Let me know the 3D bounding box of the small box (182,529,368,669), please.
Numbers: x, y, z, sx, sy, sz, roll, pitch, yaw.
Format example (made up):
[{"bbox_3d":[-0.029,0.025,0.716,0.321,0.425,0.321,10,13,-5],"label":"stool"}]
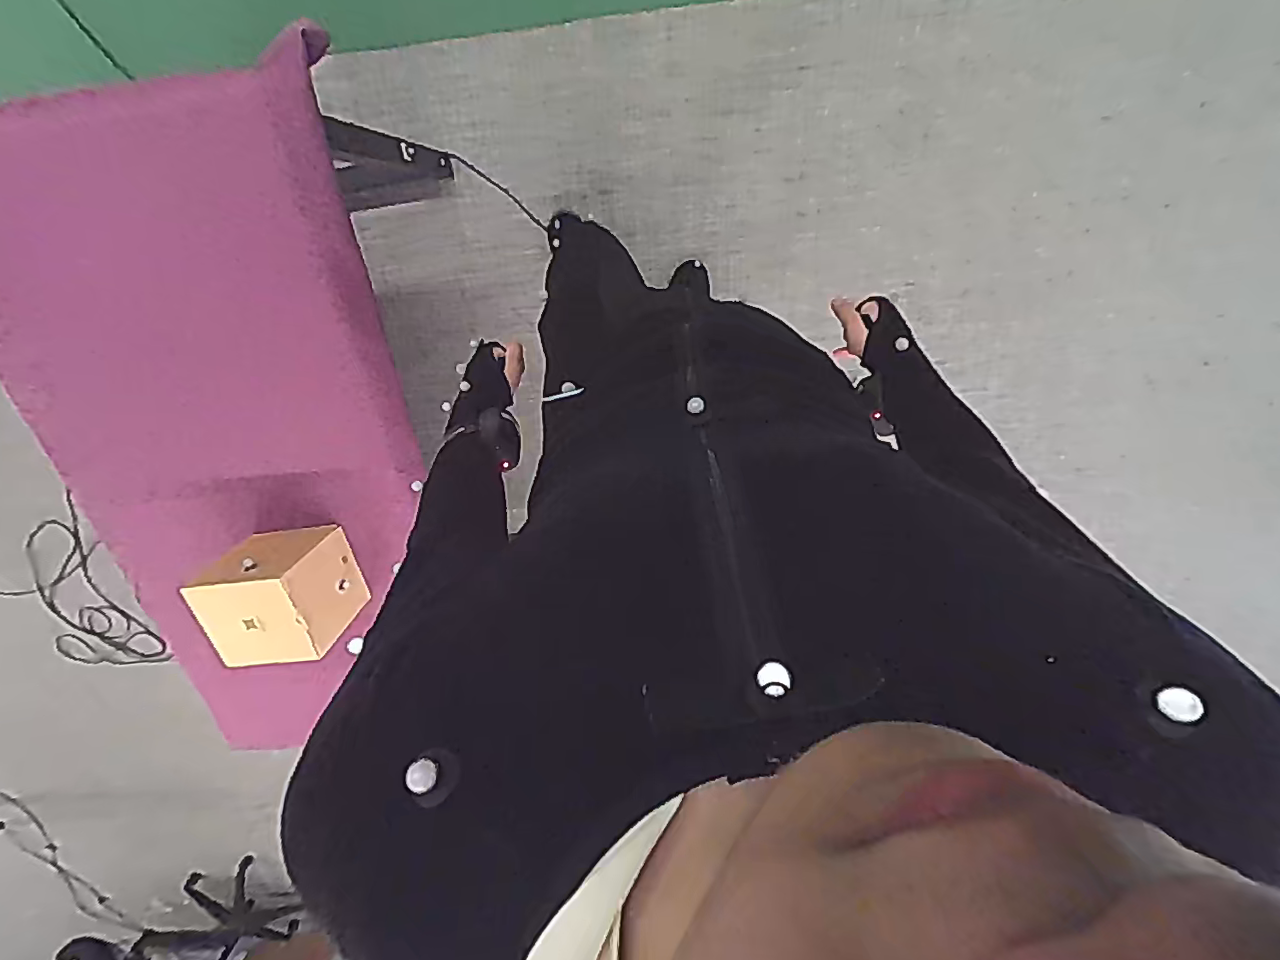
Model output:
[{"bbox_3d":[-0.616,0.200,0.939,0.179,0.176,0.168,-7,114,5],"label":"small box"}]
